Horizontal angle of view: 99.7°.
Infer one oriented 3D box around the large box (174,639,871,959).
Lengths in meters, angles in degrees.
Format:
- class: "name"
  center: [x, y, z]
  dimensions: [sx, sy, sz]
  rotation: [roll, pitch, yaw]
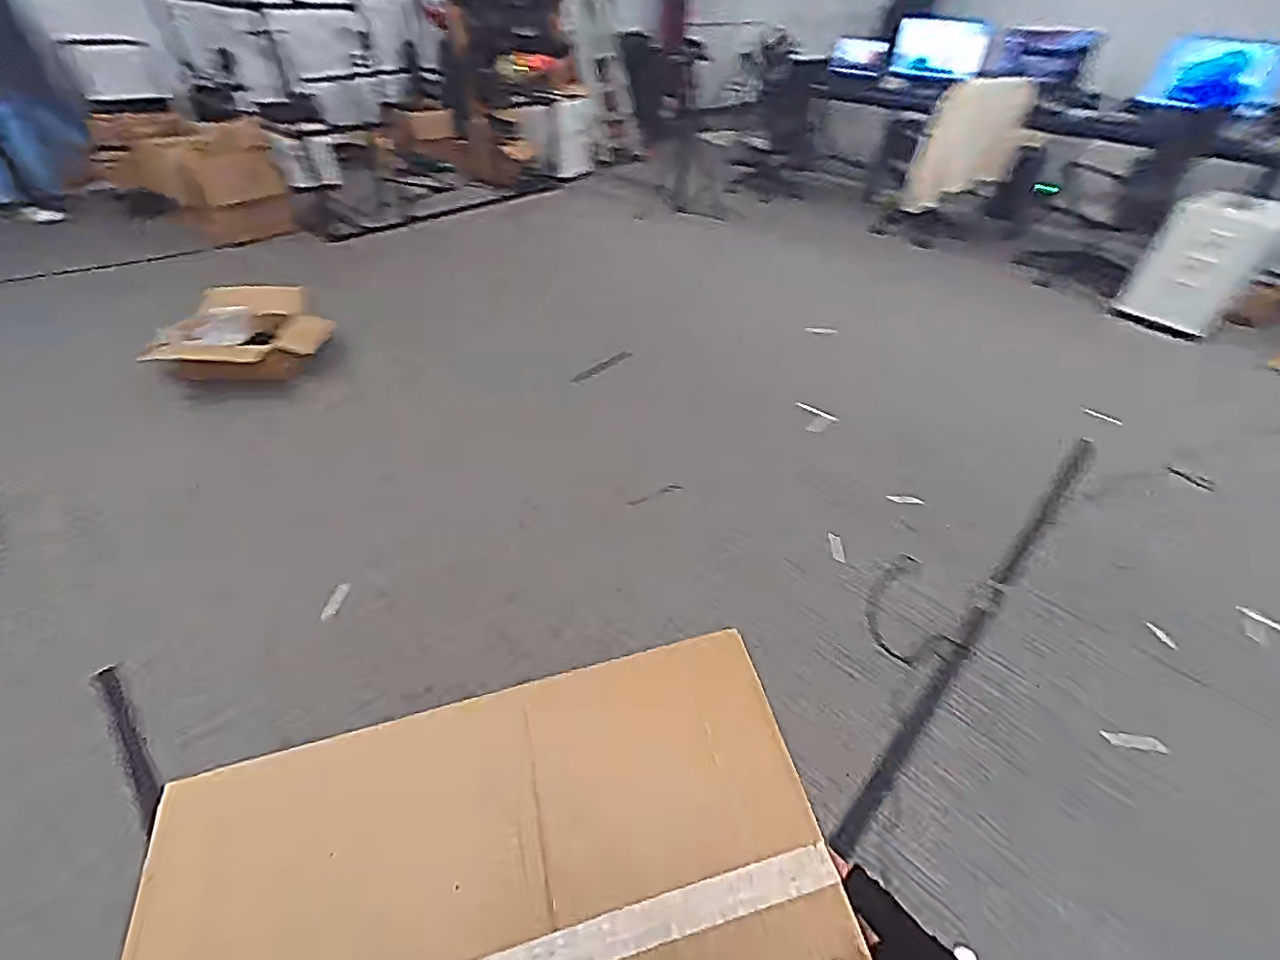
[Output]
- class: "large box"
  center: [-0.067, 0.374, 0.426]
  dimensions: [0.408, 0.320, 0.320]
  rotation: [-12, 54, -7]
